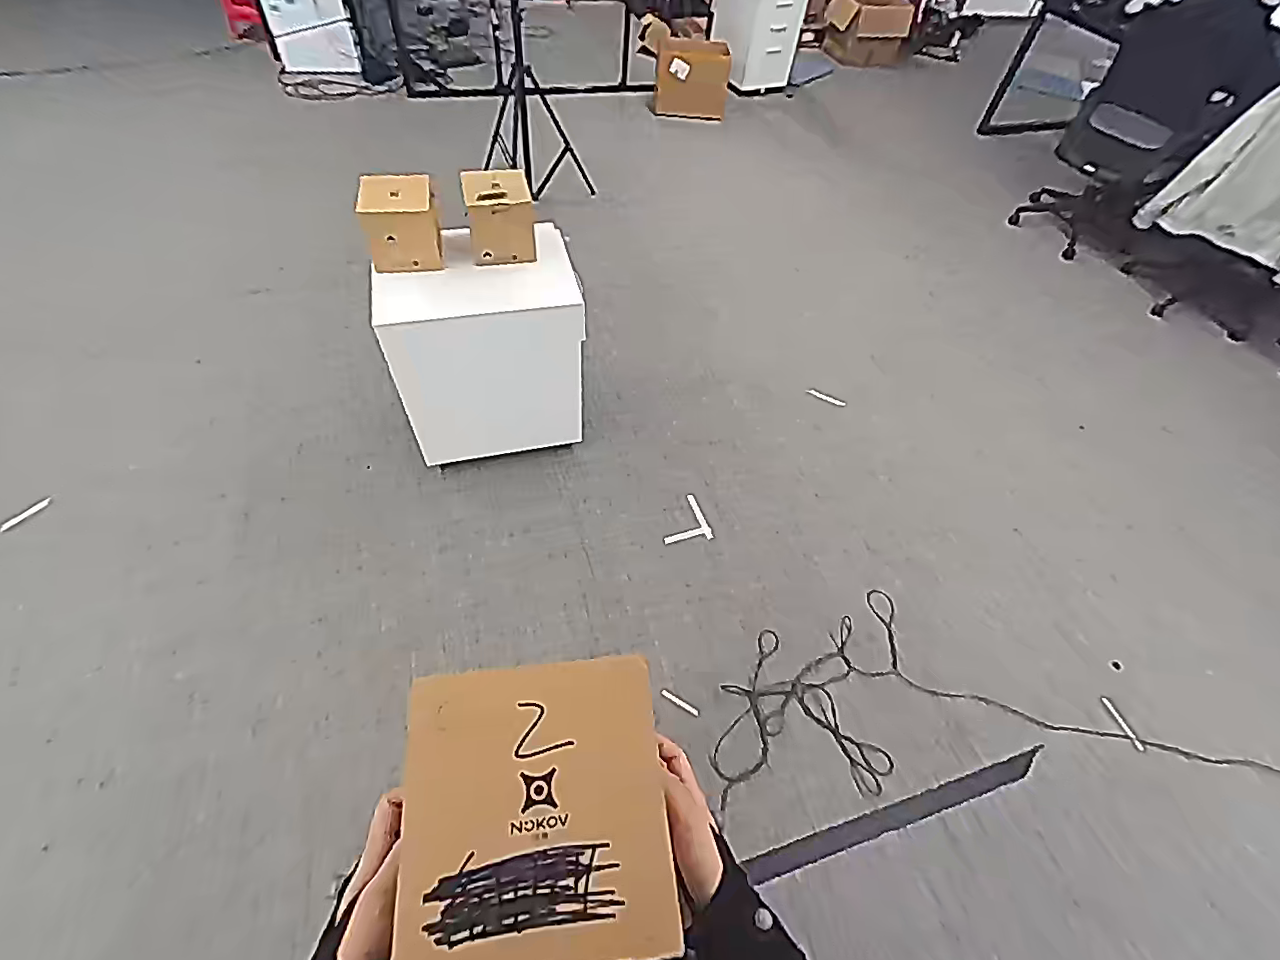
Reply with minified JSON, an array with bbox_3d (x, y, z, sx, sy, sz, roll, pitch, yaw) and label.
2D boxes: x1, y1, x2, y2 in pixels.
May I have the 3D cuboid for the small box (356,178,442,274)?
[{"bbox_3d":[-0.614,-0.651,1.397,0.168,0.176,0.179,-8,55,-12],"label":"small box"}]

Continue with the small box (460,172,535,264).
[{"bbox_3d":[-0.379,-0.698,1.452,0.168,0.176,0.179,-10,56,-12],"label":"small box"}]
